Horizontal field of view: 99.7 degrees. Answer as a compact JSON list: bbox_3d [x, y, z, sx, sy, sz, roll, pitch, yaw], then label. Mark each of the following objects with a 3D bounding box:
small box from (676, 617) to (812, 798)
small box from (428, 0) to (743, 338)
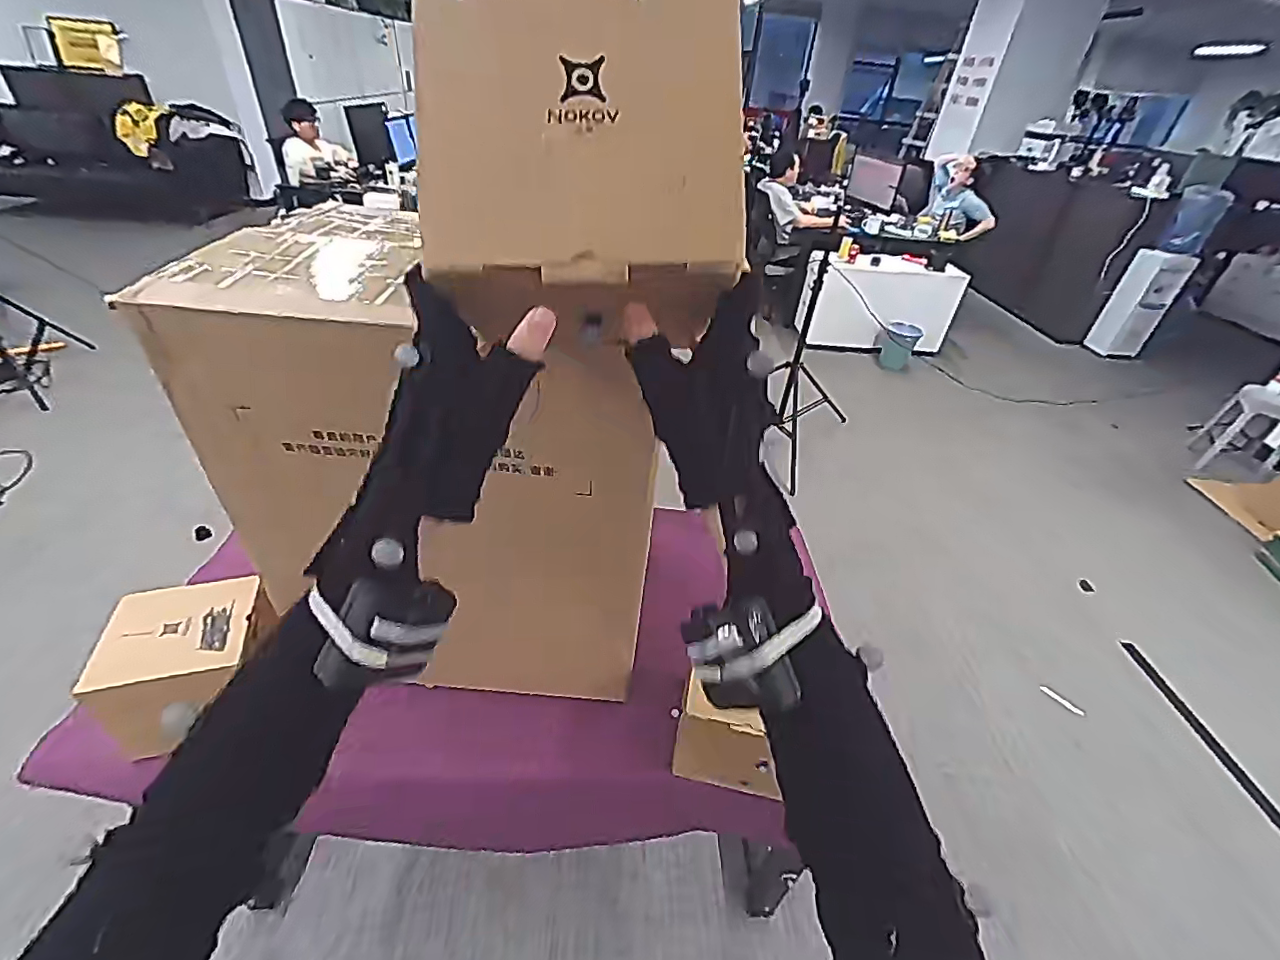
[{"bbox_3d":[0.151,0.340,0.812,0.168,0.176,0.179,11,35,6],"label":"small box"},{"bbox_3d":[-0.031,-0.199,0.364,0.168,0.179,0.176,-2,0,-3],"label":"small box"}]
